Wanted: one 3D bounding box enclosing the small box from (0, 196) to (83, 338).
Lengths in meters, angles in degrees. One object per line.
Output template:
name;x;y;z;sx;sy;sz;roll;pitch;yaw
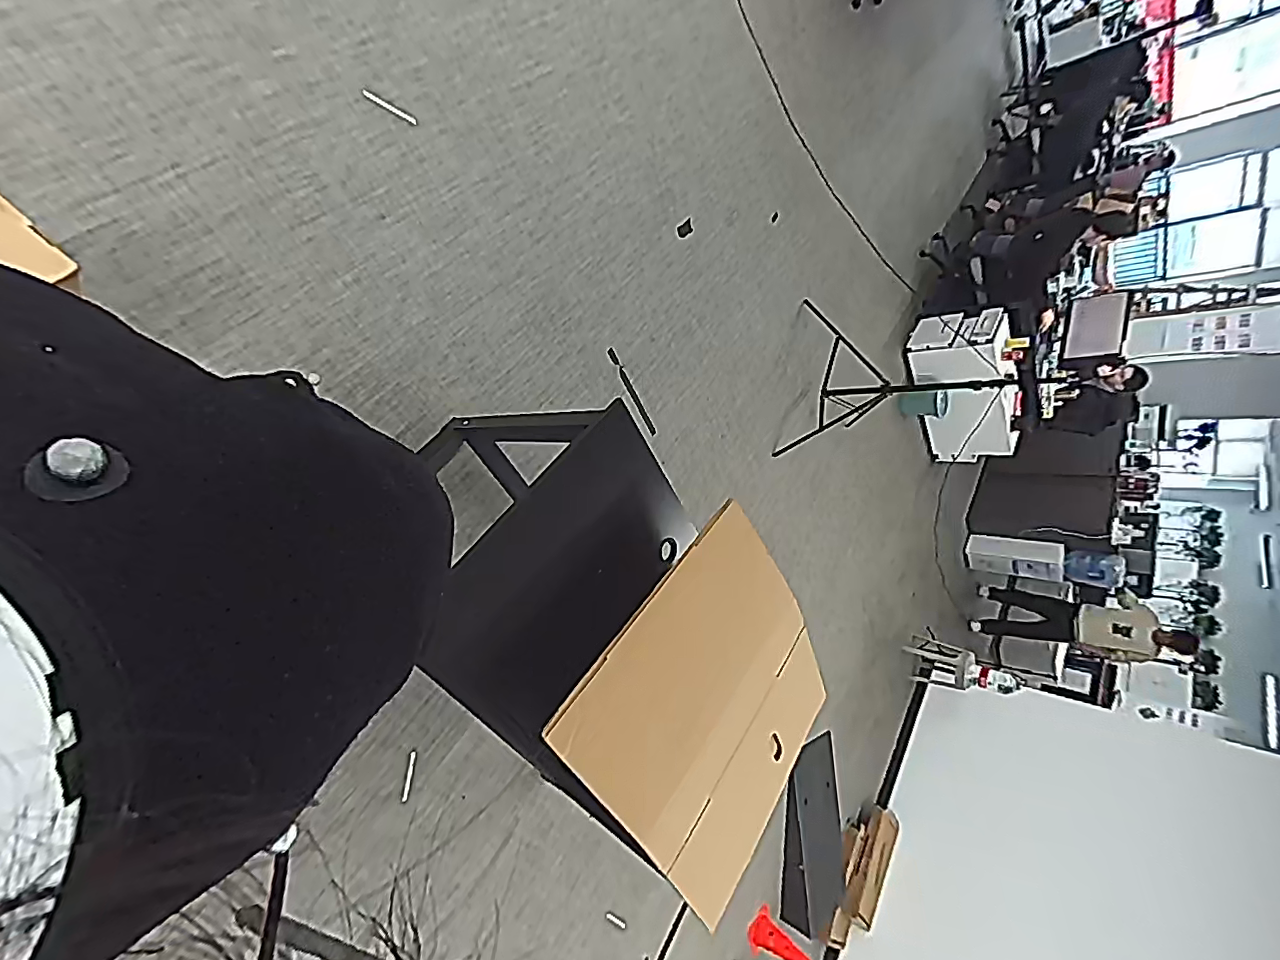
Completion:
small box;-0.890;-0.283;0.698;0.168;0.176;0.179;53;57;-33

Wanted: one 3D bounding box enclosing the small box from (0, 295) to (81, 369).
small box;-1.125;-0.304;0.924;0.179;0.176;0.168;-55;127;-27
